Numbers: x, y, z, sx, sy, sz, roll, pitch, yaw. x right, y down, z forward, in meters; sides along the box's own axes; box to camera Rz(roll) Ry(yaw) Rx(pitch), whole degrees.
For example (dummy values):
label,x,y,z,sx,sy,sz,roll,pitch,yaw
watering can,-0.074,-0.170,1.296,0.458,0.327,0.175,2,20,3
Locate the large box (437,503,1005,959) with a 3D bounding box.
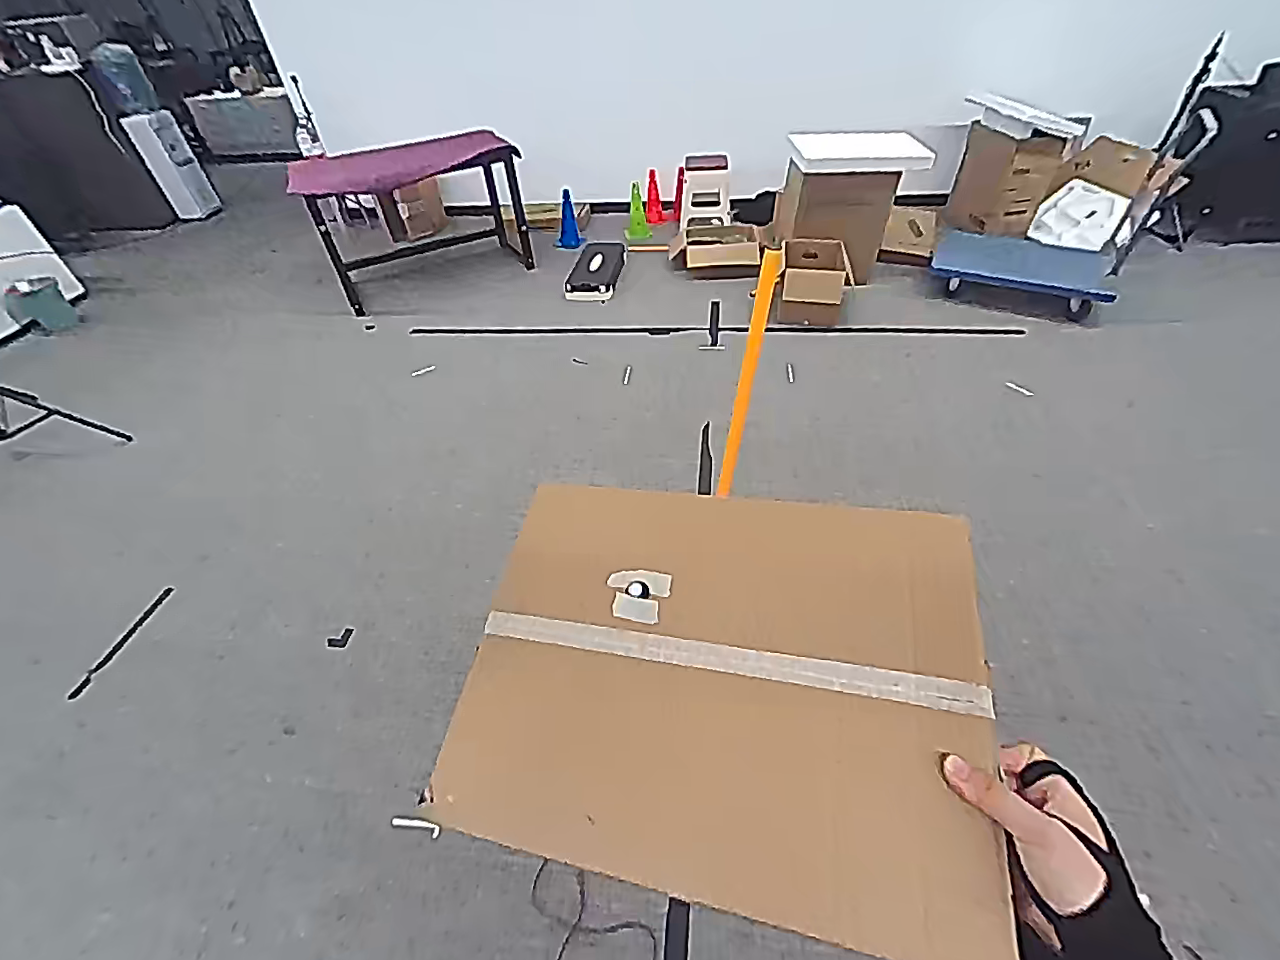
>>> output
label,x,y,z,sx,sy,sz,roll,pitch,yaw
large box,0.090,0.239,0.569,0.408,0.320,0.320,3,55,18
